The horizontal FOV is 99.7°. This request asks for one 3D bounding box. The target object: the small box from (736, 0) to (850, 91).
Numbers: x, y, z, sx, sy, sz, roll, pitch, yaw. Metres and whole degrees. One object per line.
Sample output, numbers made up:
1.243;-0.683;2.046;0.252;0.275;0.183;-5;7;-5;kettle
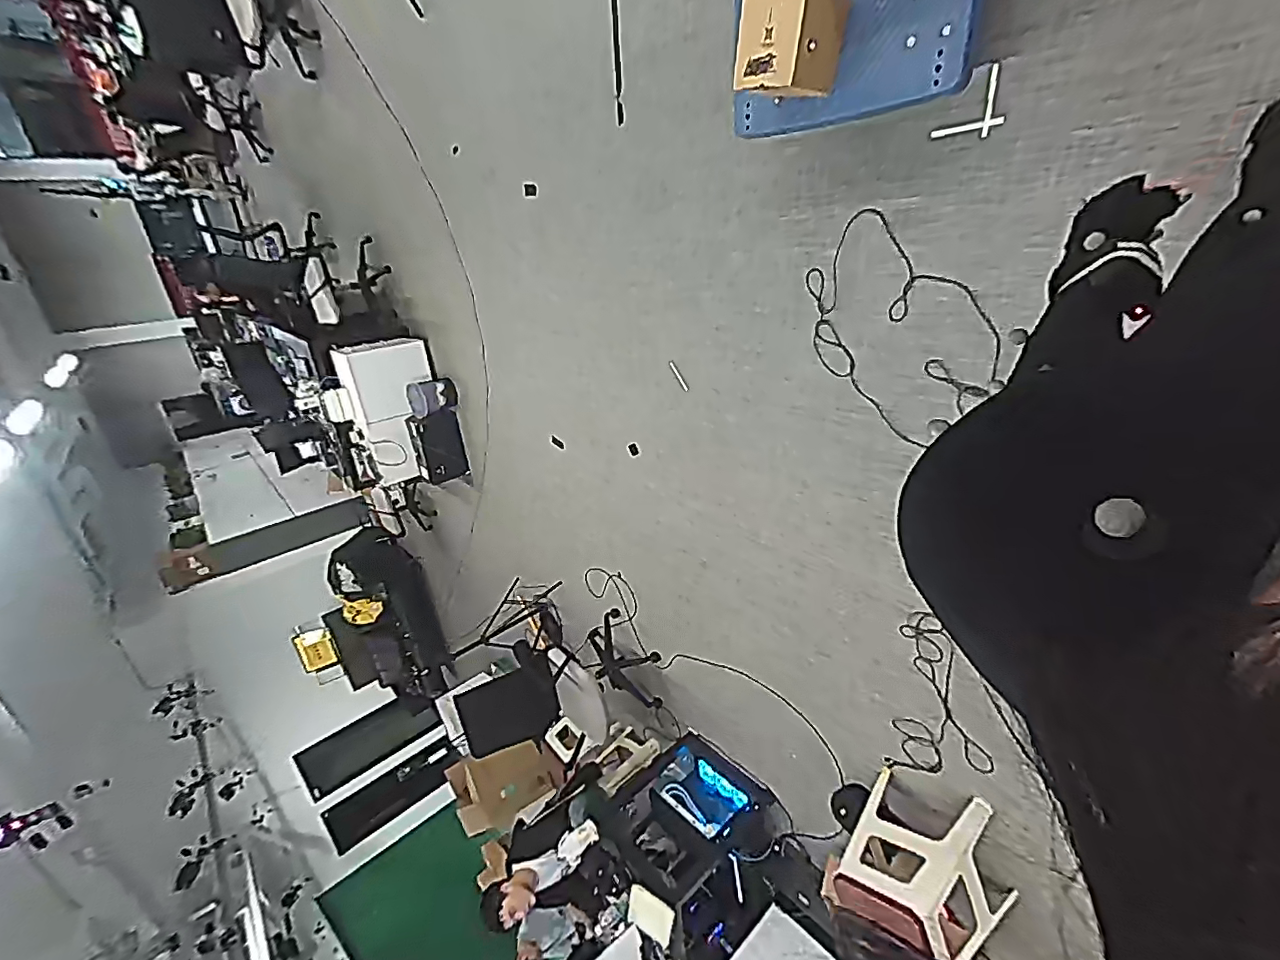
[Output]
0.341;-0.981;1.207;0.168;0.176;0.179;32;131;38;small box
